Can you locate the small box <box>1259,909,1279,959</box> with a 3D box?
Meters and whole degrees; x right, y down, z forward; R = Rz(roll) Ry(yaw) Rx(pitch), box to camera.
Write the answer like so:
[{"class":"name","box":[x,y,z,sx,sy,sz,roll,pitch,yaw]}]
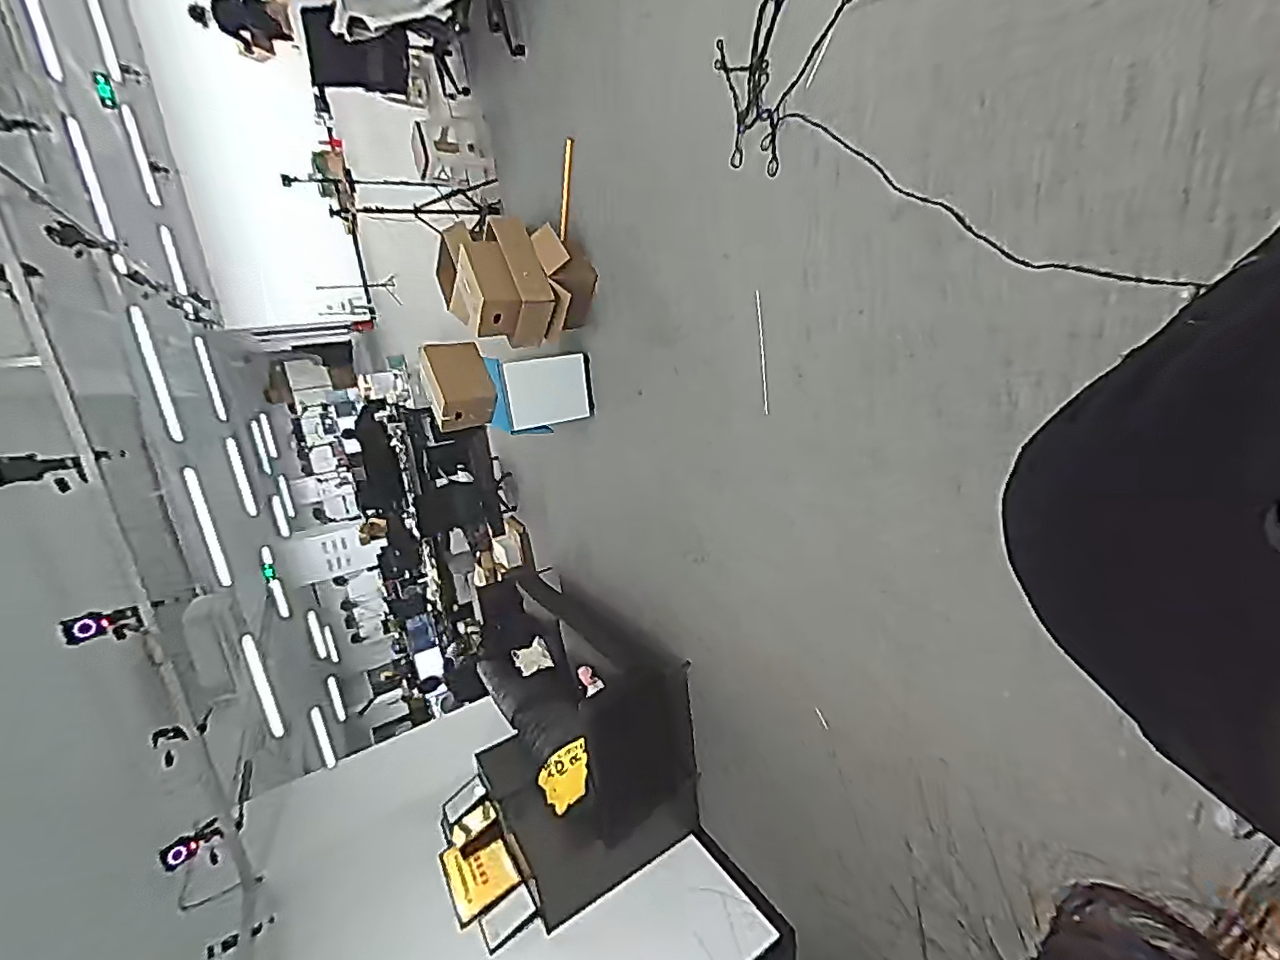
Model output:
[{"class":"small box","box":[1.401,0.981,1.086,0.179,0.176,0.168,23,123,55]}]
